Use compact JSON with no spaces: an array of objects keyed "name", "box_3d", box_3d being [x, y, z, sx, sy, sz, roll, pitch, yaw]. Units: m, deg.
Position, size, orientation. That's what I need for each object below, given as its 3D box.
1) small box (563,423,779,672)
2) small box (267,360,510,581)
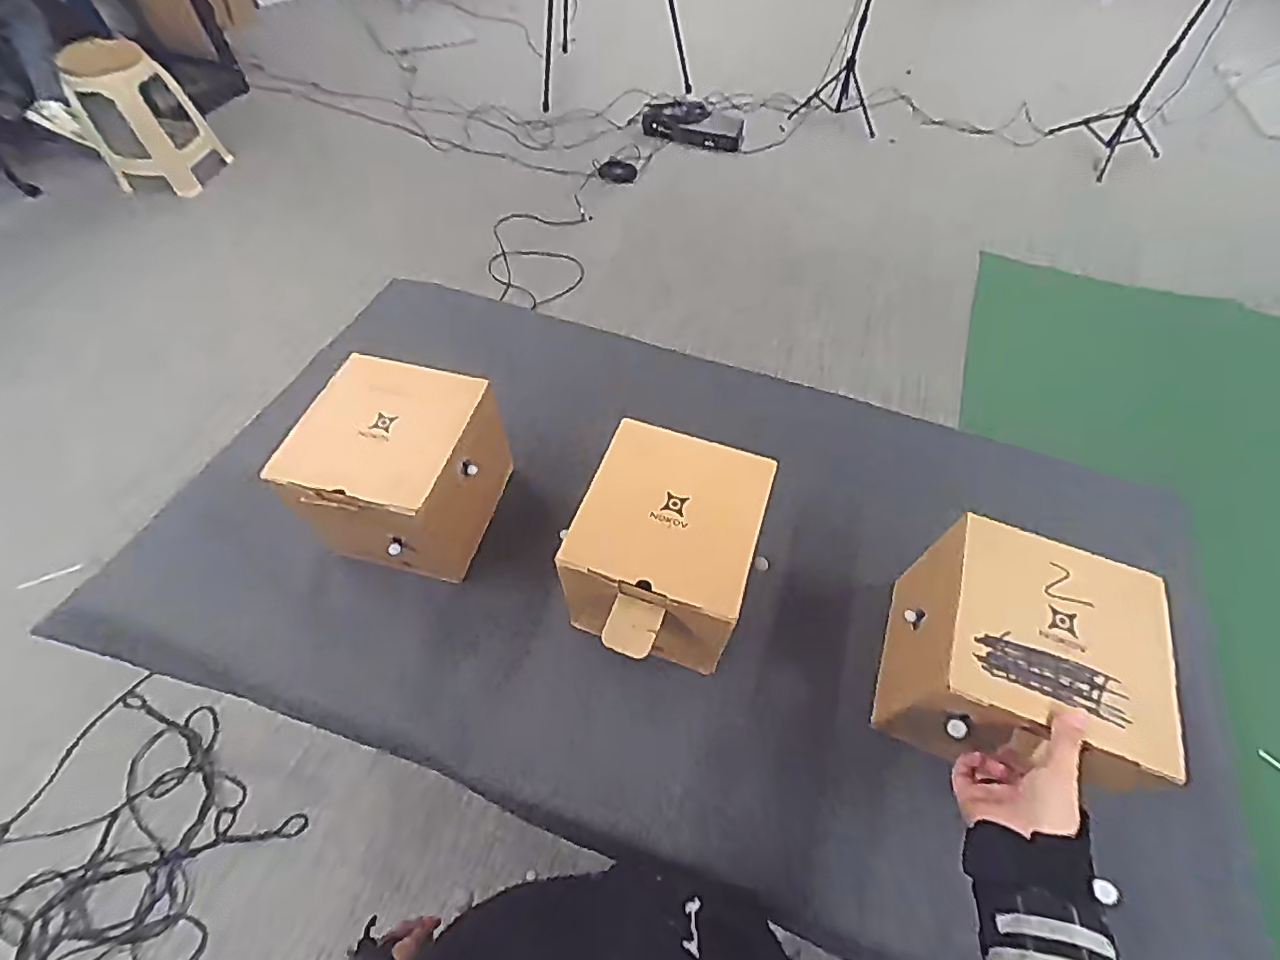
[{"name":"small box","box_3d":[0.032,0.075,0.571,0.168,0.176,0.179,17,58,10]},{"name":"small box","box_3d":[-0.262,-0.005,0.619,0.168,0.176,0.179,12,55,5]}]
